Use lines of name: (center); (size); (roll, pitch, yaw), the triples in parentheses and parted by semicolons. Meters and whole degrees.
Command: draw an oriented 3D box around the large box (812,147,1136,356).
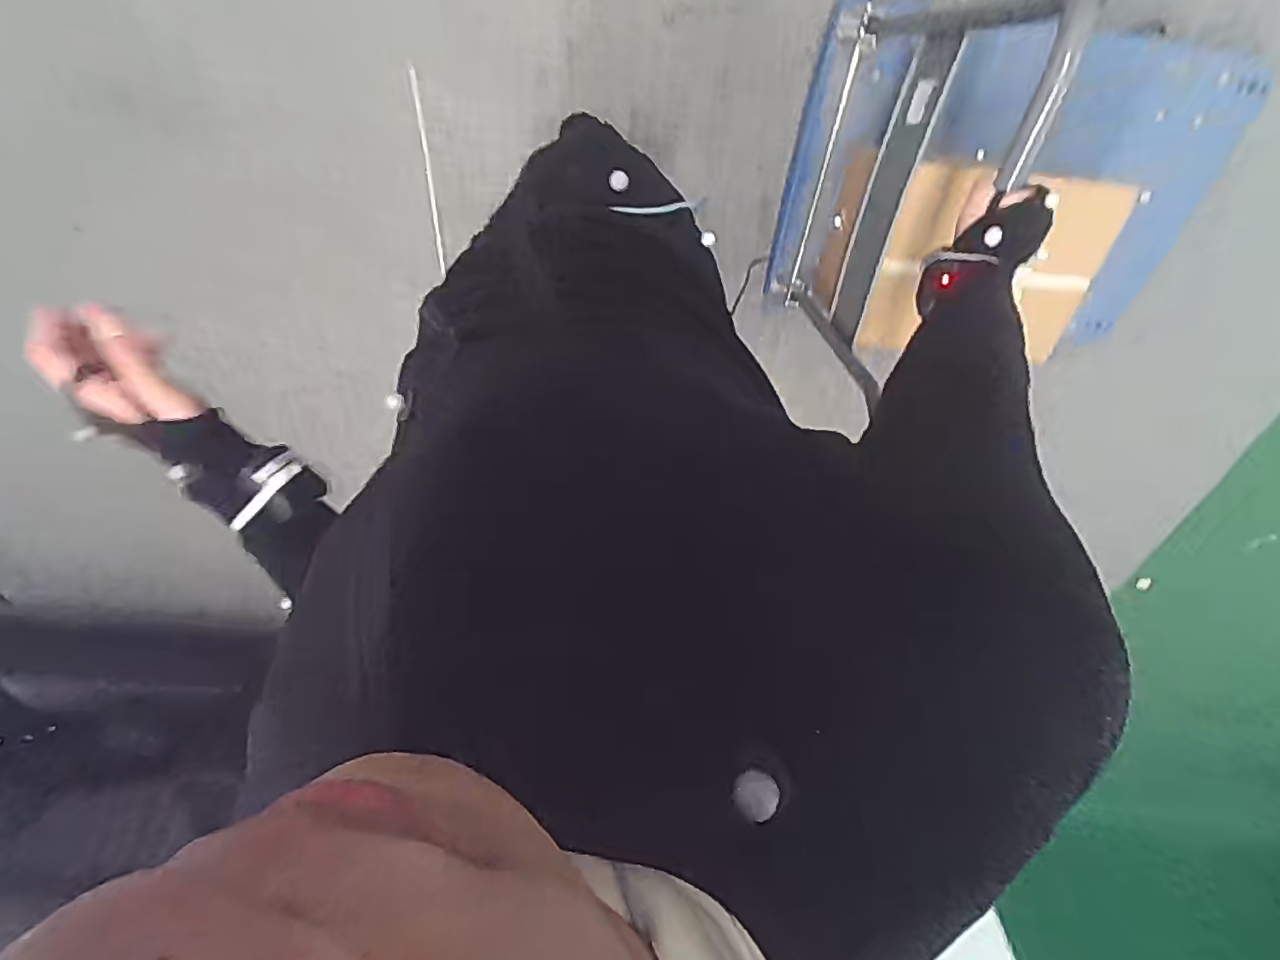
large box: (0.613, -0.469, 1.094); (0.408, 0.320, 0.320); (5, 128, -2)
